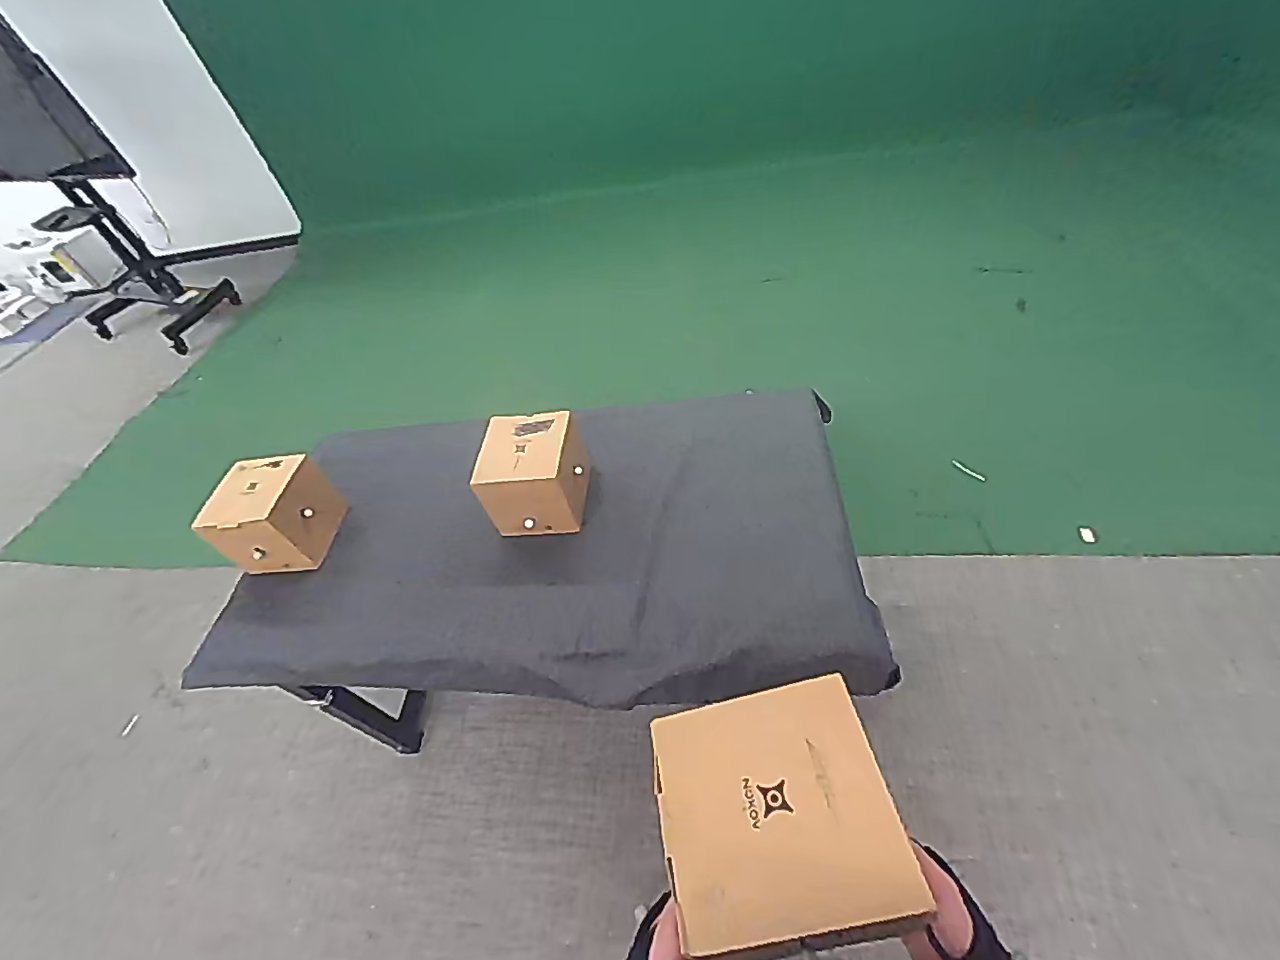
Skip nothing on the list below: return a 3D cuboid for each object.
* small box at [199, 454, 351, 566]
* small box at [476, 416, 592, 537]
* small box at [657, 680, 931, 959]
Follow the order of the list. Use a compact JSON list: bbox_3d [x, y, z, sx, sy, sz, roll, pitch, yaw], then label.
[{"bbox_3d":[-0.743,0.069,1.125,0.168,0.176,0.179,-4,49,8],"label":"small box"},{"bbox_3d":[-0.198,-0.005,1.073,0.168,0.176,0.179,-3,50,10],"label":"small box"},{"bbox_3d":[0.129,0.309,0.485,0.179,0.176,0.168,-16,45,6],"label":"small box"}]
